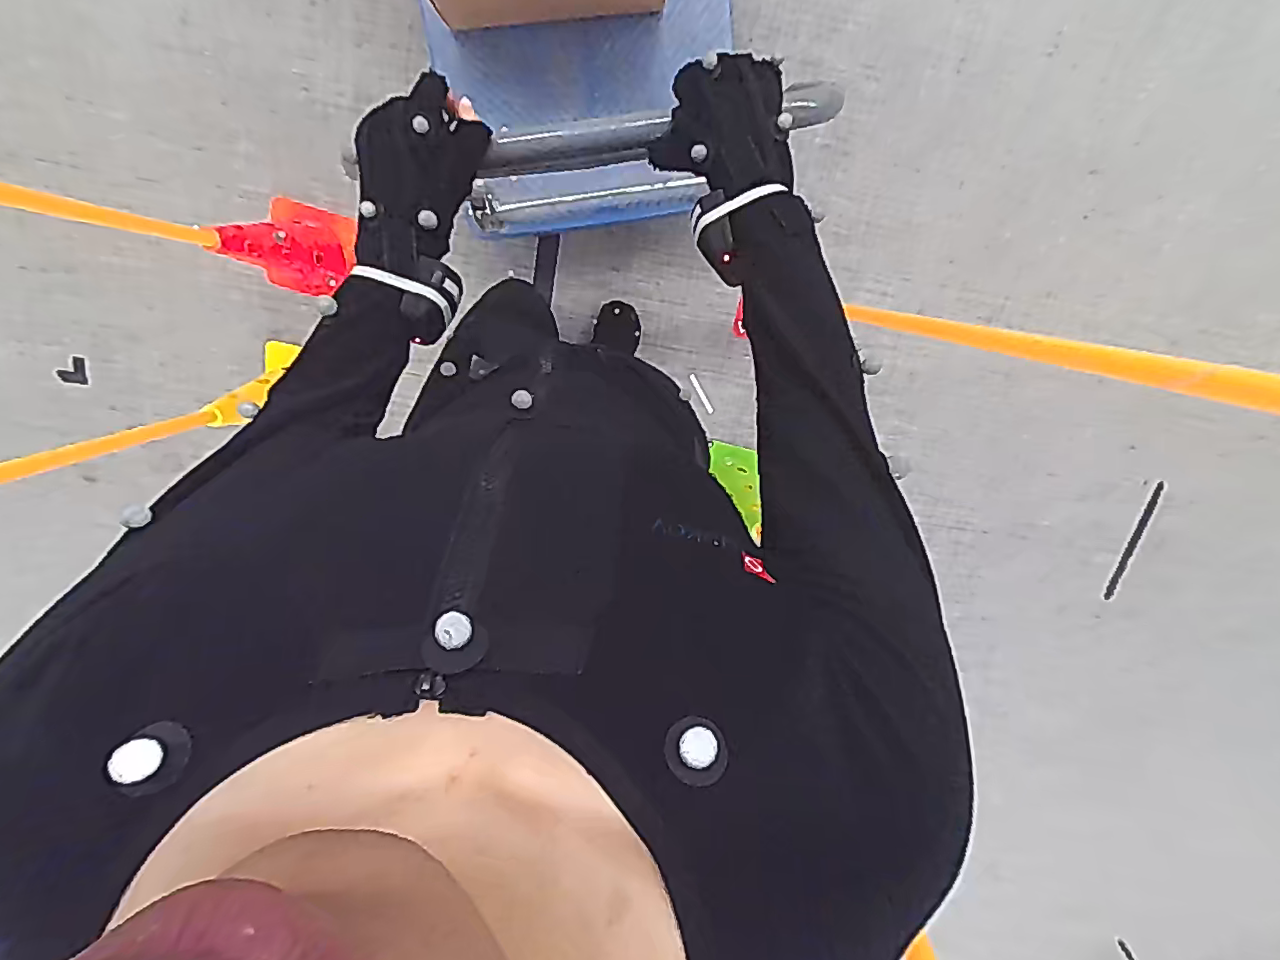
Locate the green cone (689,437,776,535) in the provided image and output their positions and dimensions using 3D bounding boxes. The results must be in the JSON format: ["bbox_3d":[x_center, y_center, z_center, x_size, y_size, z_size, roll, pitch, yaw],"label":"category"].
[{"bbox_3d":[0.261,0.047,1.346,0.202,0.368,0.200,12,108,-8],"label":"green cone"}]

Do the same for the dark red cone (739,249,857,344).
[{"bbox_3d":[0.366,-0.396,1.177,0.201,0.394,0.202,8,109,-7],"label":"dark red cone"}]

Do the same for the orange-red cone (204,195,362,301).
[{"bbox_3d":[-0.763,-0.494,1.121,0.198,0.360,0.199,16,106,-8],"label":"orange-red cone"}]

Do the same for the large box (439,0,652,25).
[{"bbox_3d":[-0.163,-0.963,0.825,0.408,0.320,0.320,-6,110,1],"label":"large box"}]
